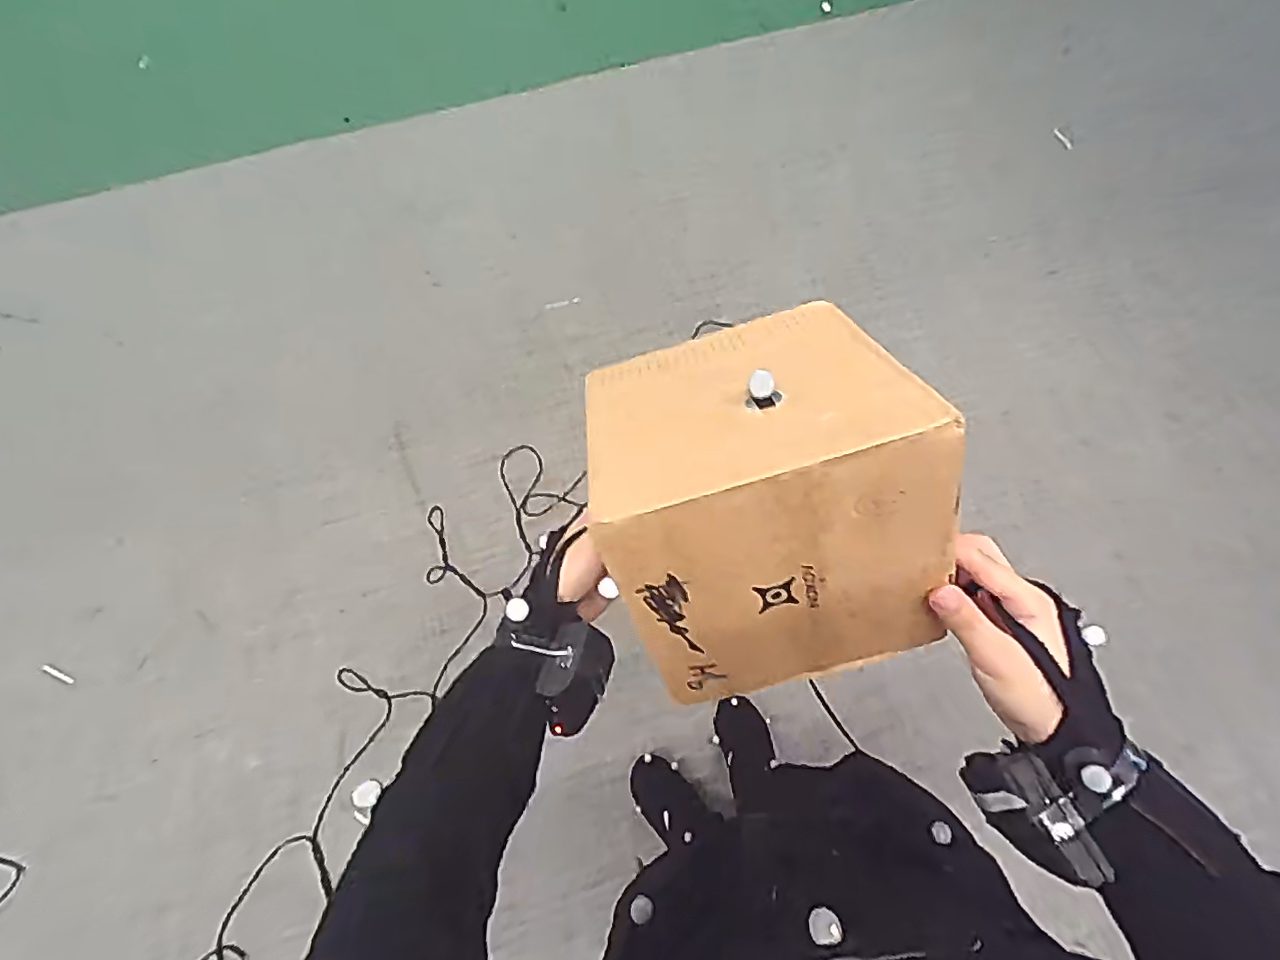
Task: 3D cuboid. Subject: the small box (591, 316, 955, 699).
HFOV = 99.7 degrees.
[{"bbox_3d":[0.074,0.010,0.365,0.179,0.168,0.176,-17,35,4],"label":"small box"}]
